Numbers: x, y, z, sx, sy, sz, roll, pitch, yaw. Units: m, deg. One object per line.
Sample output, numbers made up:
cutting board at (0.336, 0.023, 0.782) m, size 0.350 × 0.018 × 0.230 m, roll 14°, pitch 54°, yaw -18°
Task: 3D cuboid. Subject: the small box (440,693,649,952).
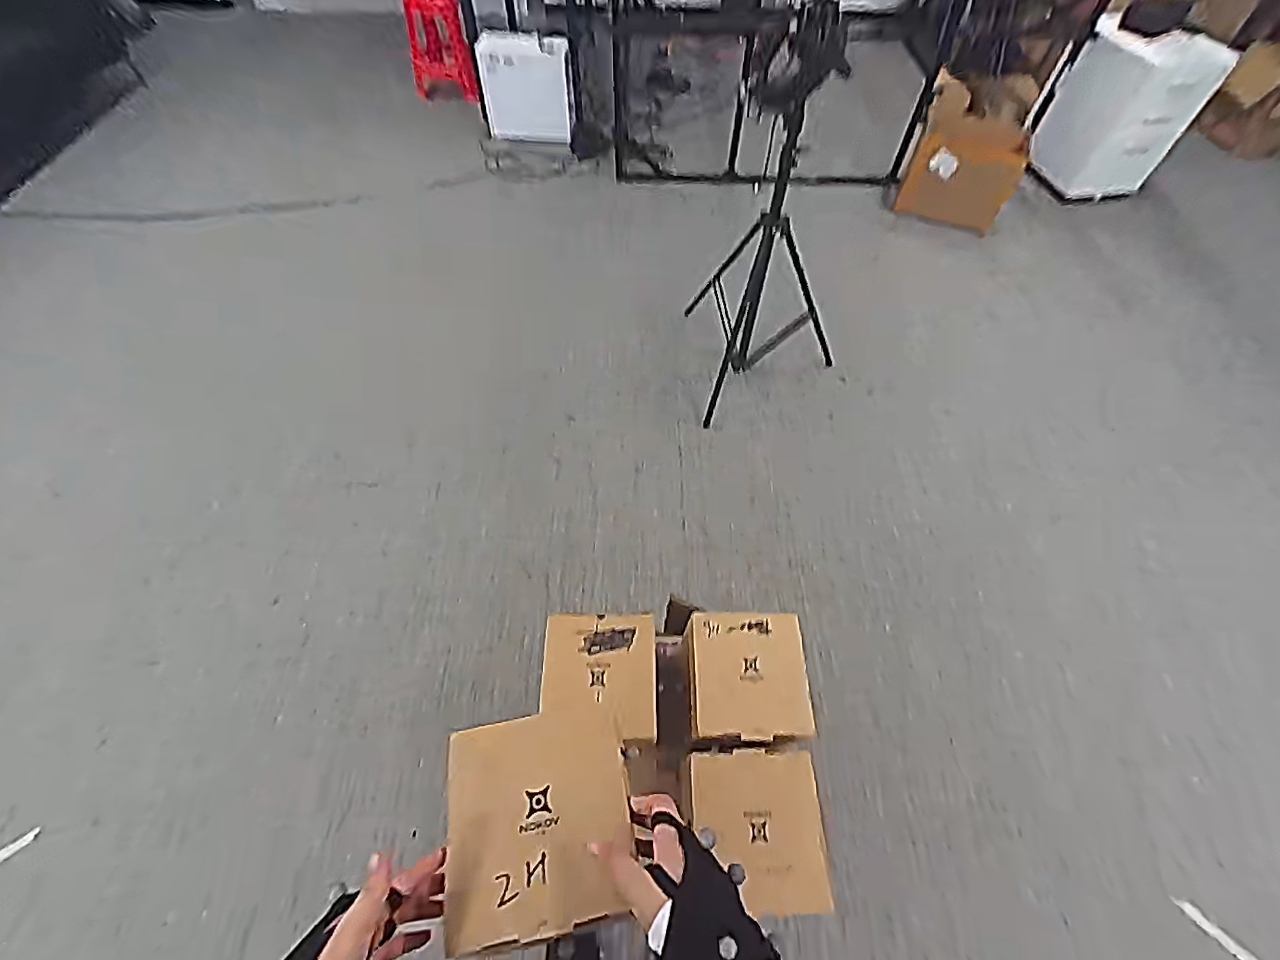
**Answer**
small box at (-0.088, 0.344, 0.543) m, size 0.168 × 0.176 × 0.179 m, roll -11°, pitch 49°, yaw -5°
